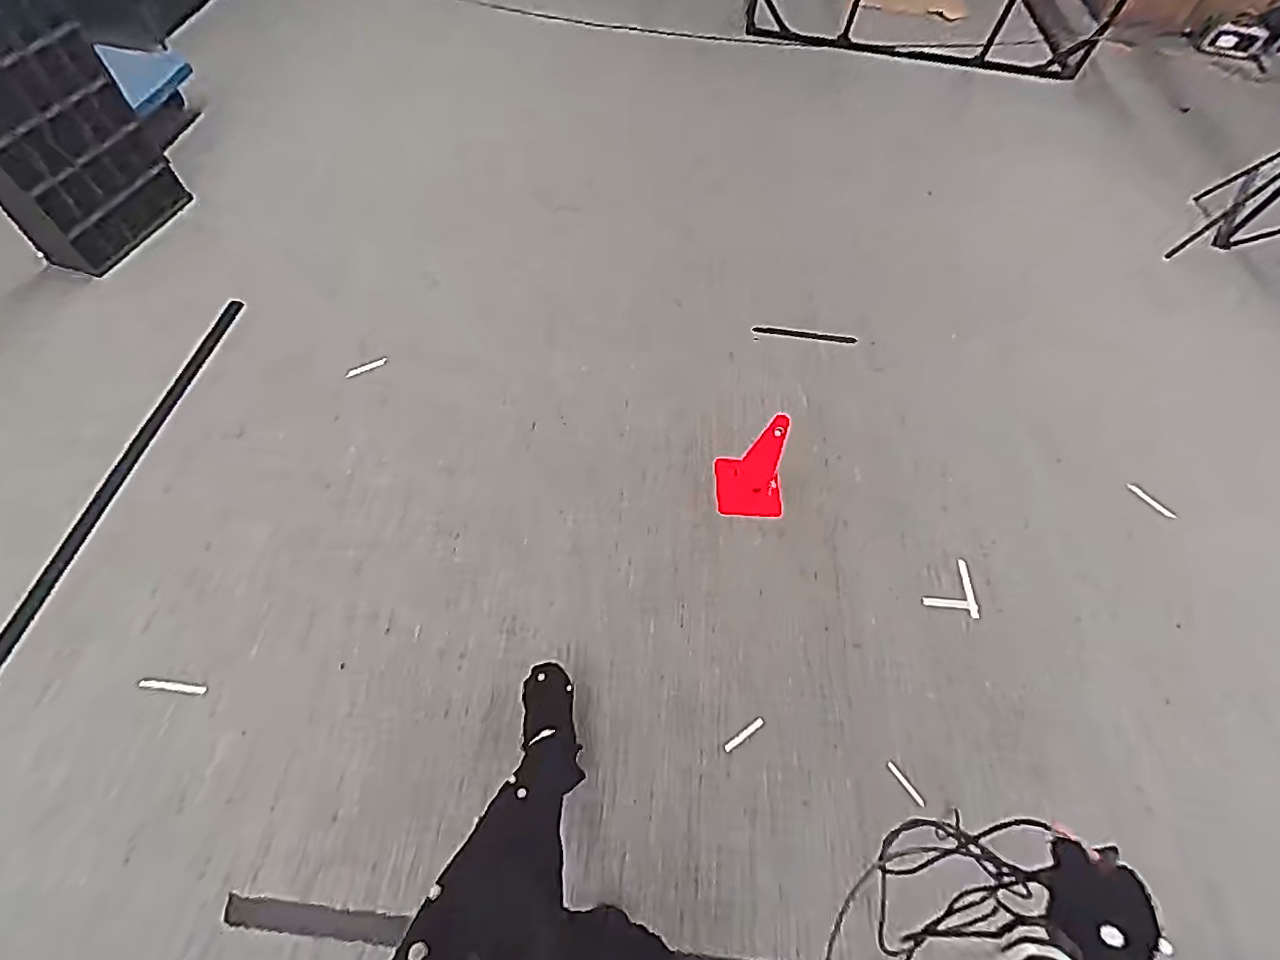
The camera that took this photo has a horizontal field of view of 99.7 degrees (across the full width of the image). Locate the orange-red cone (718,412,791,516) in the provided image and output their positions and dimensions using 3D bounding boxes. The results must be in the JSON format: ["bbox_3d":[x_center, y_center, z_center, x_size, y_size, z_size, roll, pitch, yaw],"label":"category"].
[{"bbox_3d":[0.349,-0.066,1.506,0.199,0.360,0.198,3,59,-2],"label":"orange-red cone"}]
